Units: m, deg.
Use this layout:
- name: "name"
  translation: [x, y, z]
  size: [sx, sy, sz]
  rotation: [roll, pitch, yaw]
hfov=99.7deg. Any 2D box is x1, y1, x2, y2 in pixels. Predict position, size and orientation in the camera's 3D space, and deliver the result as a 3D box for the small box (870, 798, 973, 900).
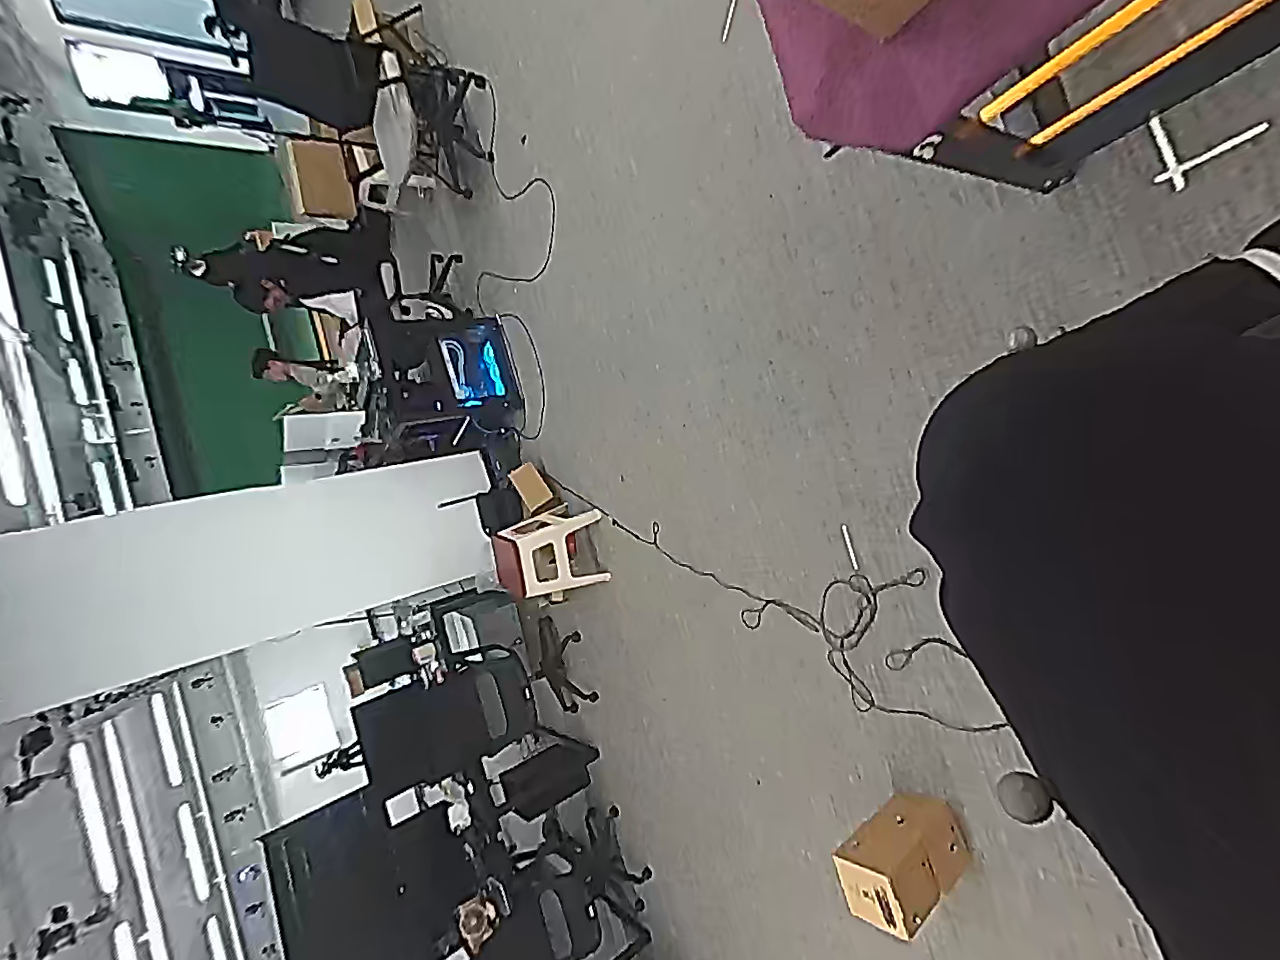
- name: "small box"
  translation: [0.807, 1.044, 1.550]
  size: [0.179, 0.176, 0.168]
  rotation: [-32, 76, 54]
